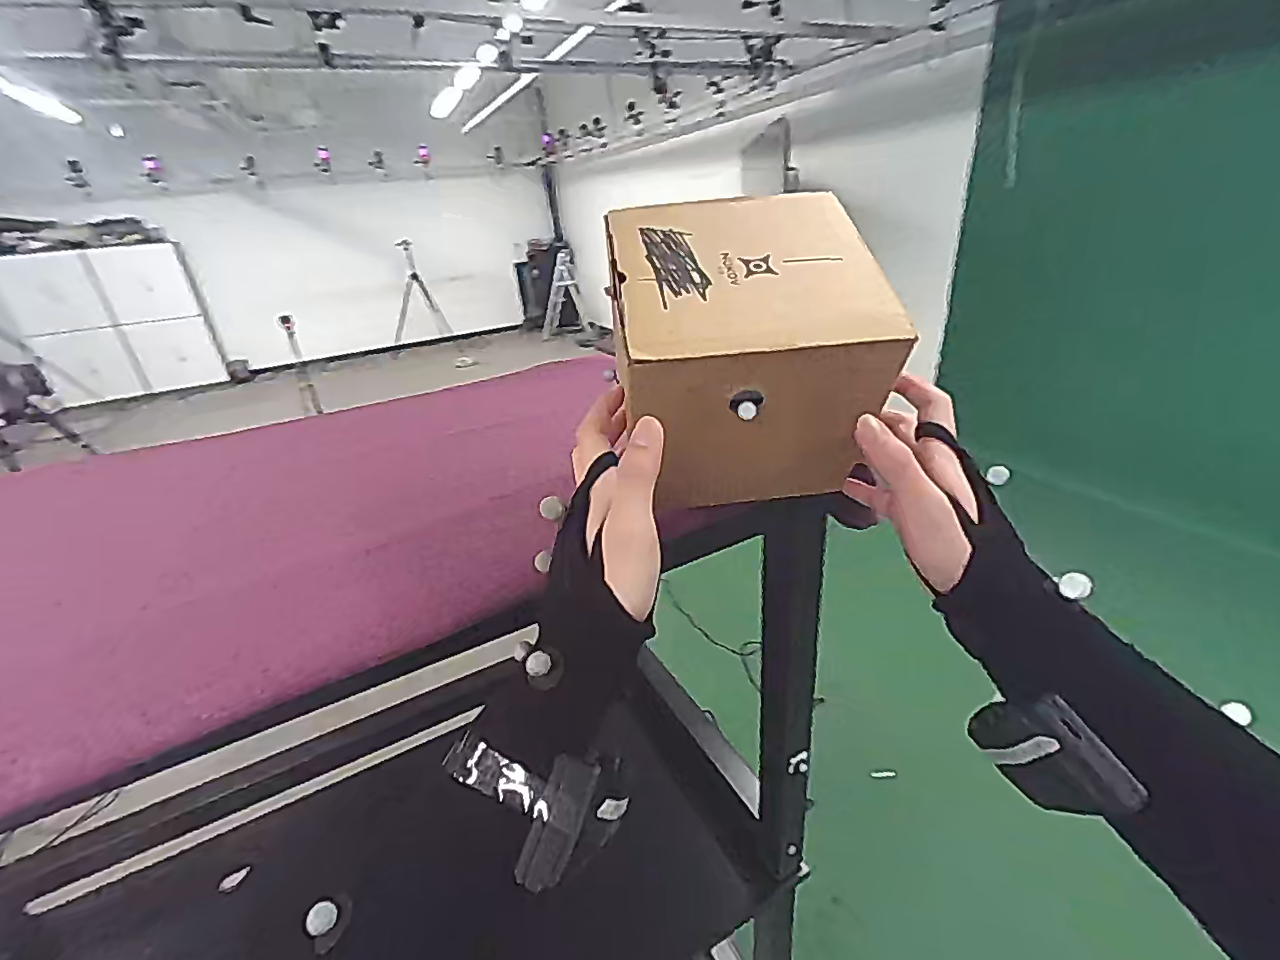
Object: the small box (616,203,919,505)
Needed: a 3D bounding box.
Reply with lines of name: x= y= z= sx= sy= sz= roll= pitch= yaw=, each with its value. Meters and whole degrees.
small box: x=0.078 y=-0.091 z=0.433 sx=0.179 sy=0.176 sz=0.168 roll=-5 pitch=57 yaw=-3
